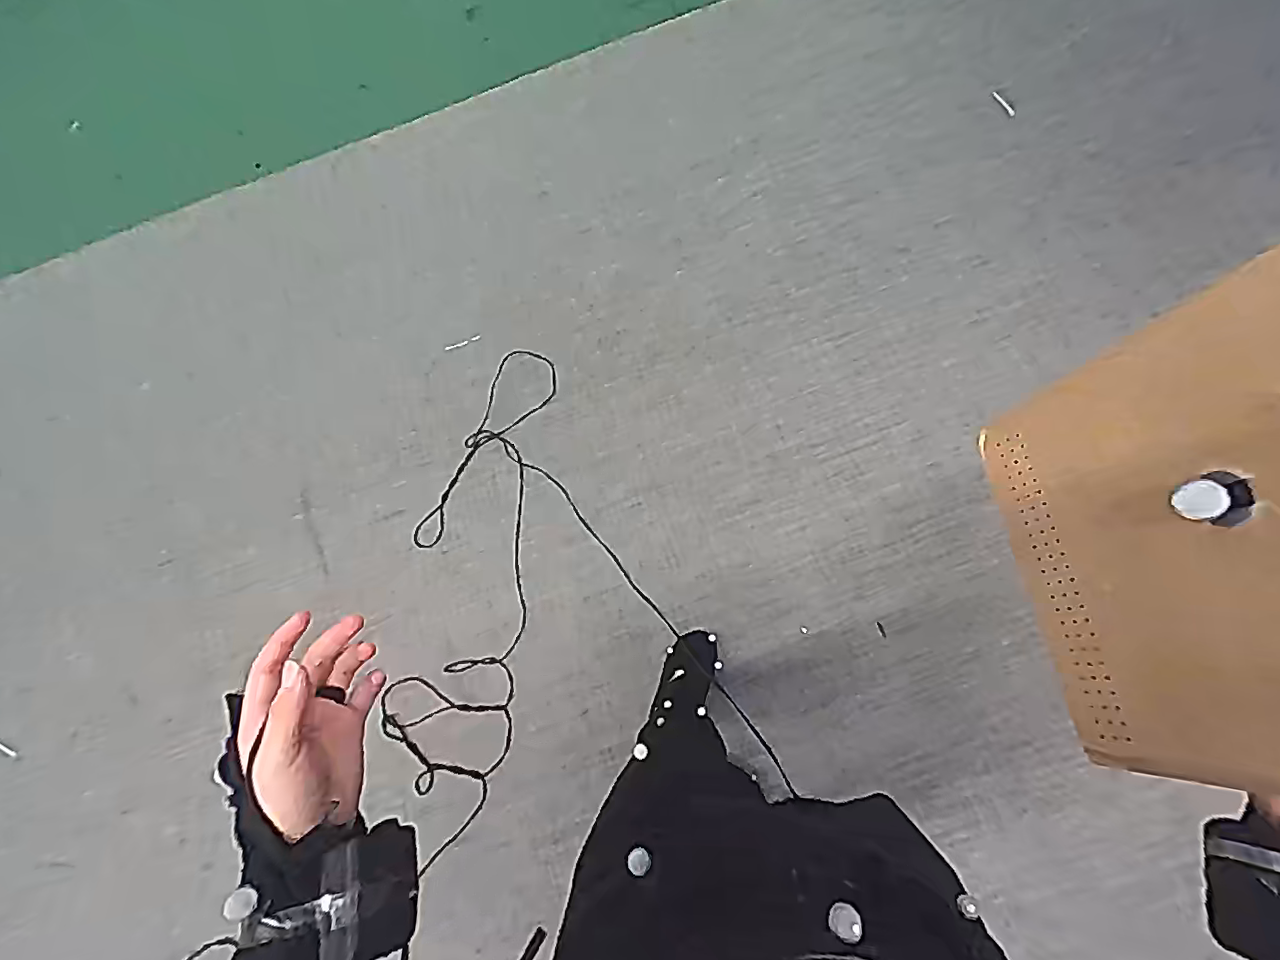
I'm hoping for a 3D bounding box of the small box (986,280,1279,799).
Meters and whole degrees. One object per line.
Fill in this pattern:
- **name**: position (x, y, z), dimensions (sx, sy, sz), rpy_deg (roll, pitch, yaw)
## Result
- **small box**: position (0.293, 0.028, 0.226), dimensions (0.168, 0.176, 0.179), rpy_deg (-6, 70, -8)
